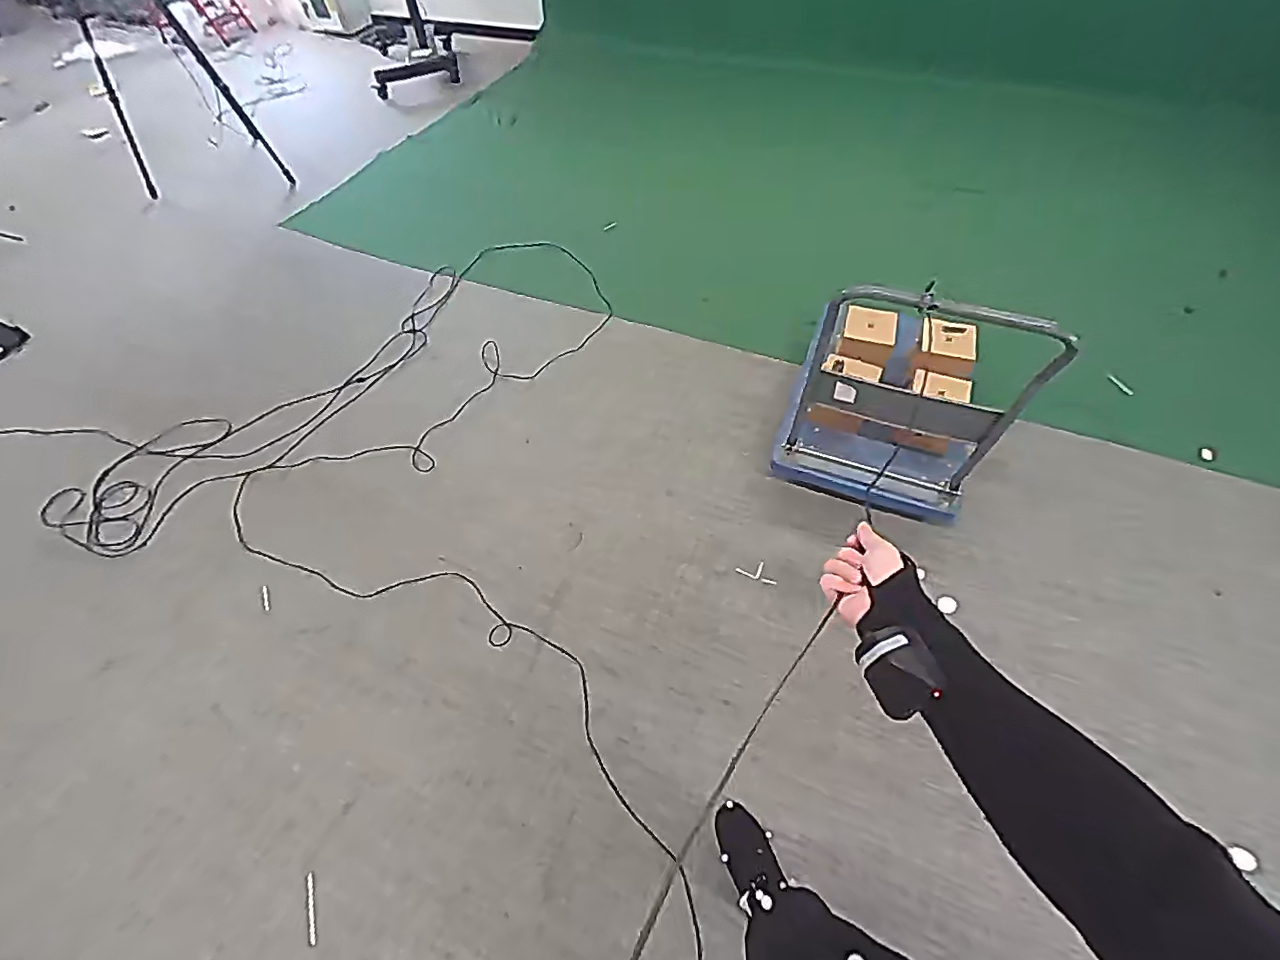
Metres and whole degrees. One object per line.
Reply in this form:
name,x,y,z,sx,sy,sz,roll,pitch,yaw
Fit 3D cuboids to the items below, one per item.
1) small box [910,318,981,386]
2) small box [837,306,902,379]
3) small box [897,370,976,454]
small box,1.044,-0.422,1.855,0.168,0.176,0.179,14,58,14
small box,0.806,-0.482,1.912,0.168,0.176,0.179,15,57,13
small box,0.938,-0.215,1.717,0.168,0.176,0.179,19,59,16
